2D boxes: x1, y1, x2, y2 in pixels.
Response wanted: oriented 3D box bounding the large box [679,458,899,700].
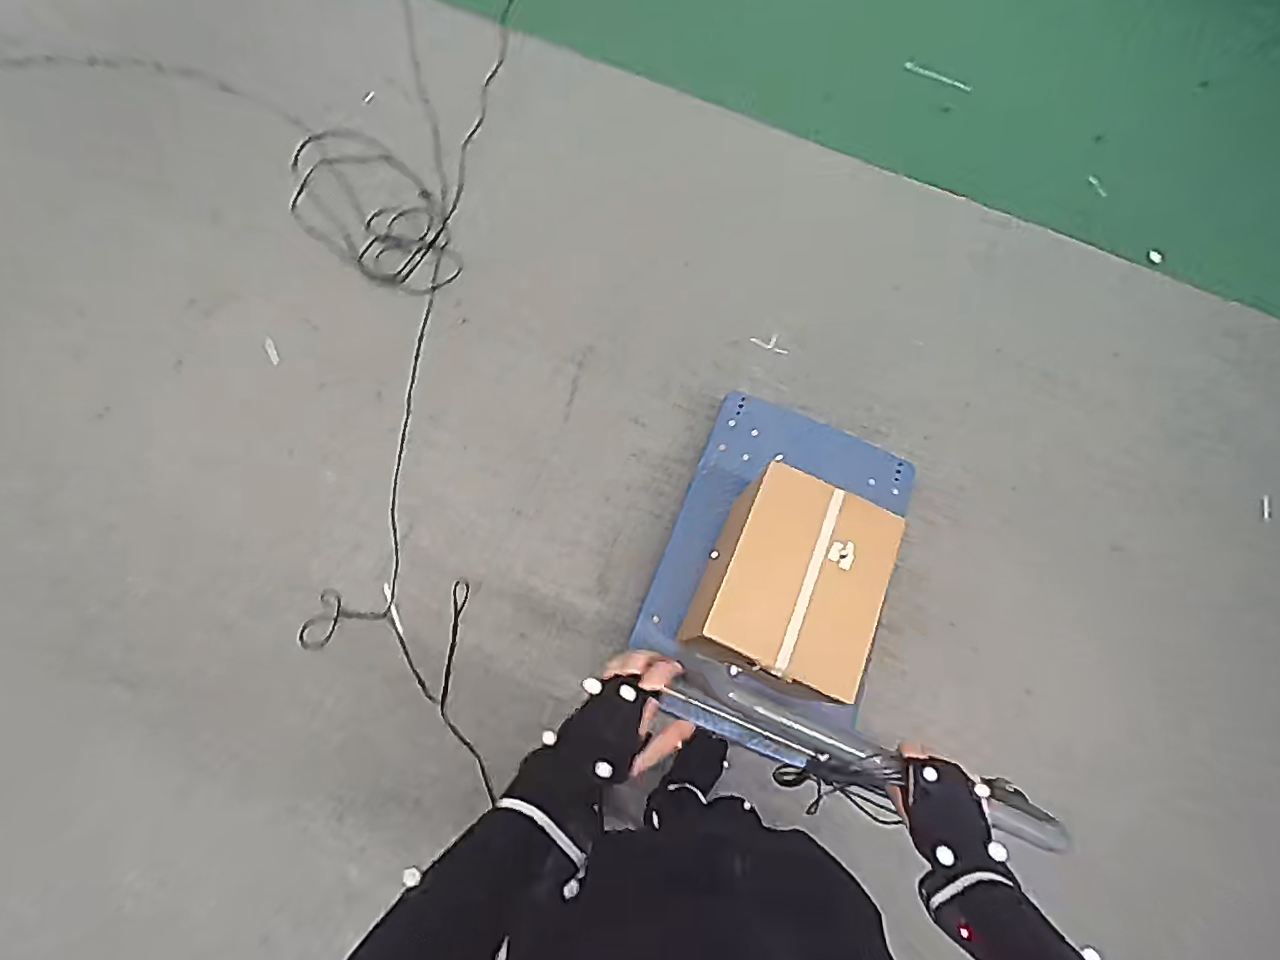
[{"bbox_3d":[0.317,0.233,1.214,0.320,0.320,0.408,25,69,2],"label":"large box"}]
